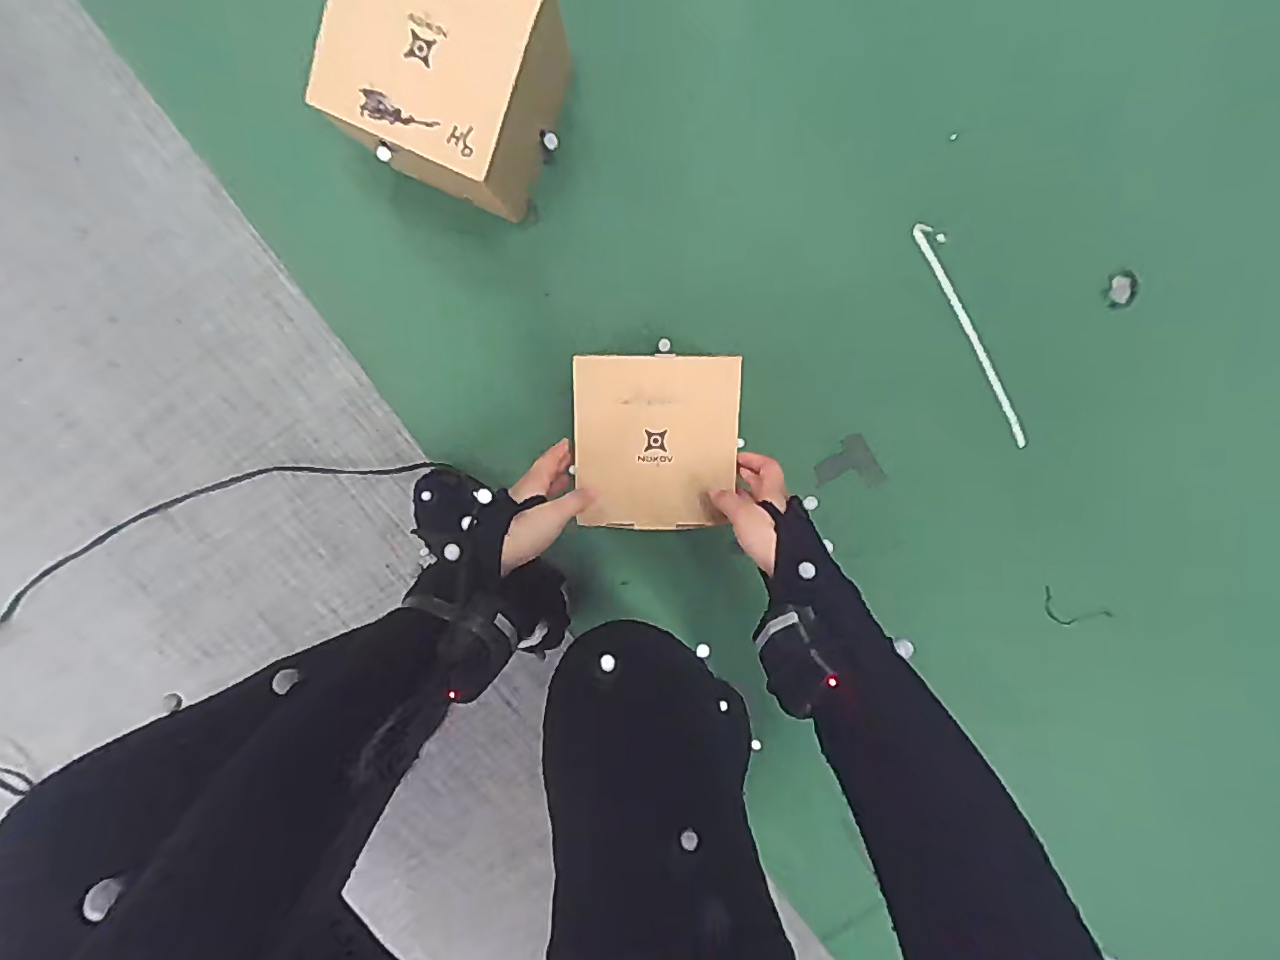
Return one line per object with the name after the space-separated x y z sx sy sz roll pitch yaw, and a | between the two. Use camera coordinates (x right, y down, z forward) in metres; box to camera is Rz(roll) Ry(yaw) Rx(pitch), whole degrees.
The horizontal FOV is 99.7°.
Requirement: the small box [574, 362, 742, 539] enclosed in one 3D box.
0.015 -0.043 0.617 0.168 0.176 0.179 0 103 -1 | small box

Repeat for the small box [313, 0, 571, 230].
-0.176 -0.381 0.536 0.168 0.176 0.179 23 102 -6 | small box
